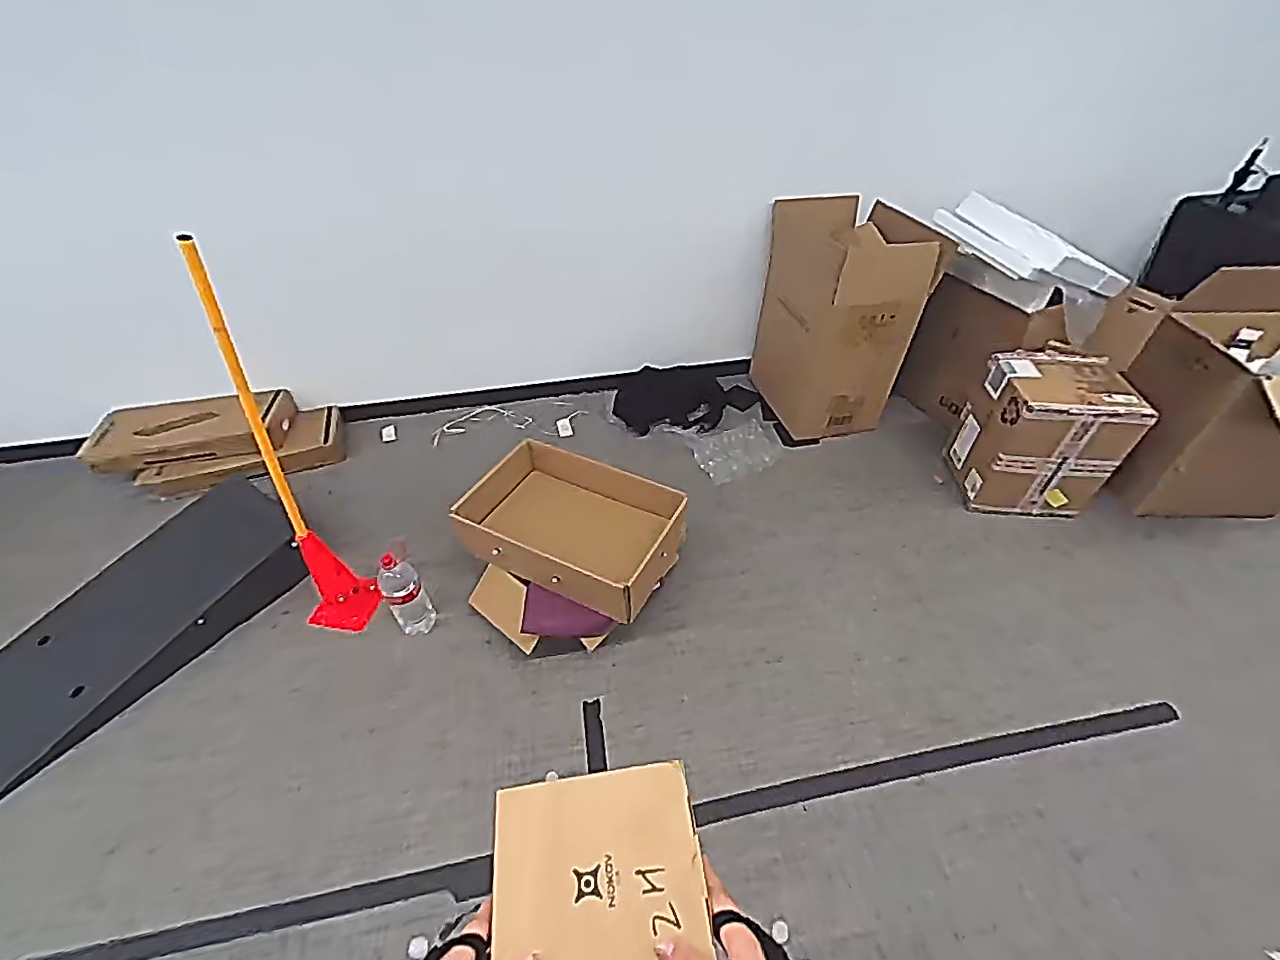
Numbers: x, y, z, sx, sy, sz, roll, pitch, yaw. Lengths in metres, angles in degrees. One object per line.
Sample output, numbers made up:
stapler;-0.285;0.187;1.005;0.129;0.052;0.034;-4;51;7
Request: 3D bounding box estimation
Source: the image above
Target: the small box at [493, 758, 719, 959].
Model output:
small box;-0.029;0.384;0.508;0.179;0.176;0.168;-7;49;-4
